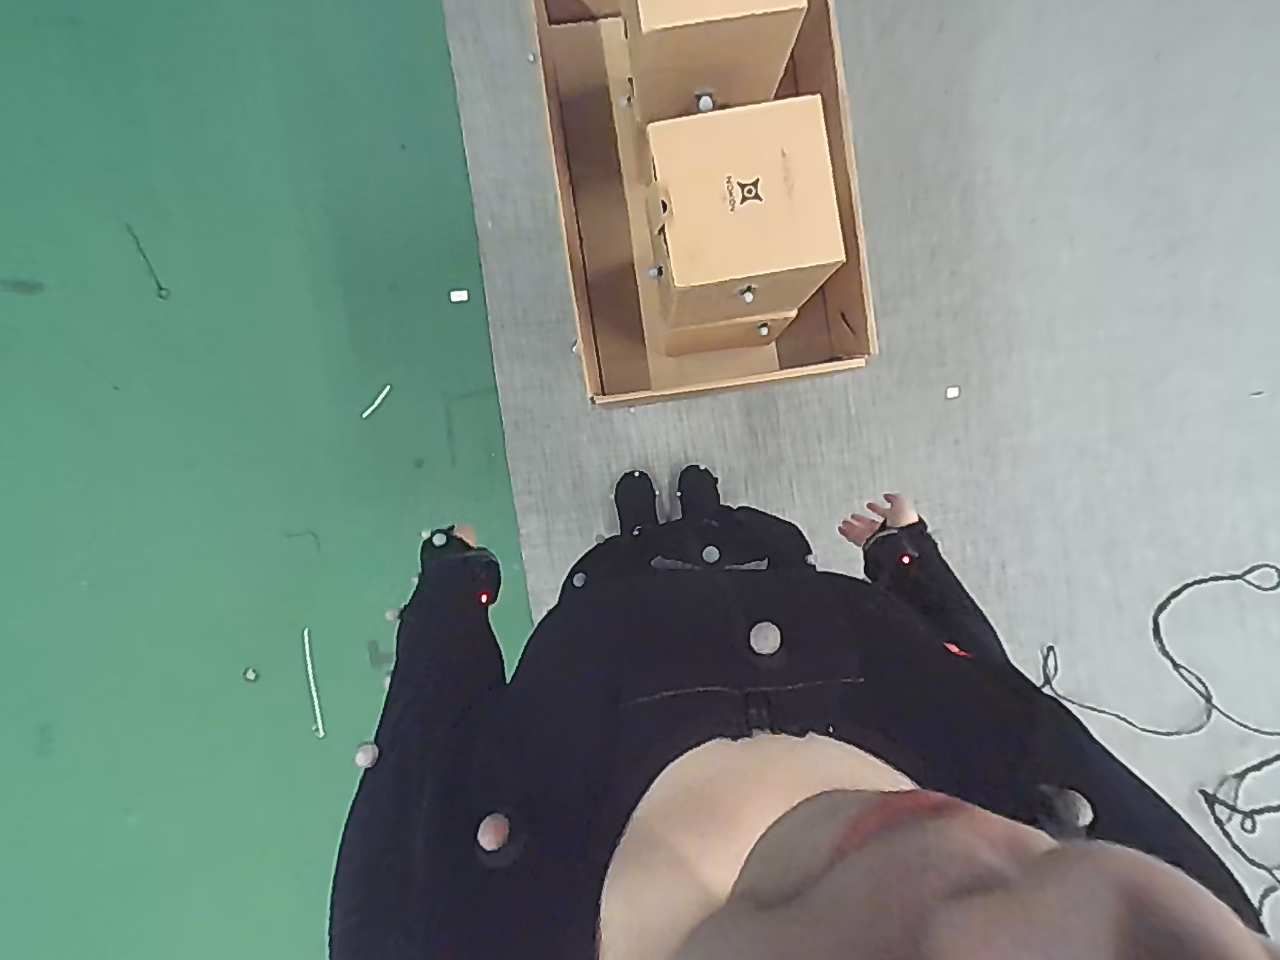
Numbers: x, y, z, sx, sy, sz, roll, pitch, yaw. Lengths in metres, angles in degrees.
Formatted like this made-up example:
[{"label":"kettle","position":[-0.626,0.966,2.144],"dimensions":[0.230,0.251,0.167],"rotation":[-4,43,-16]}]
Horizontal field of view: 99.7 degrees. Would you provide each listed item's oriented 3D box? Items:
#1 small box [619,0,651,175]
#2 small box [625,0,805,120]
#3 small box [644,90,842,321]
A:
[{"label":"small box","position":[0.070,-0.557,0.762],"dimensions":[0.179,0.176,0.168],"rotation":[-7,94,2]},{"label":"small box","position":[0.070,-0.541,0.598],"dimensions":[0.168,0.176,0.179],"rotation":[-8,95,1]},{"label":"small box","position":[0.104,-0.291,0.613],"dimensions":[0.179,0.176,0.168],"rotation":[-10,93,0]}]
